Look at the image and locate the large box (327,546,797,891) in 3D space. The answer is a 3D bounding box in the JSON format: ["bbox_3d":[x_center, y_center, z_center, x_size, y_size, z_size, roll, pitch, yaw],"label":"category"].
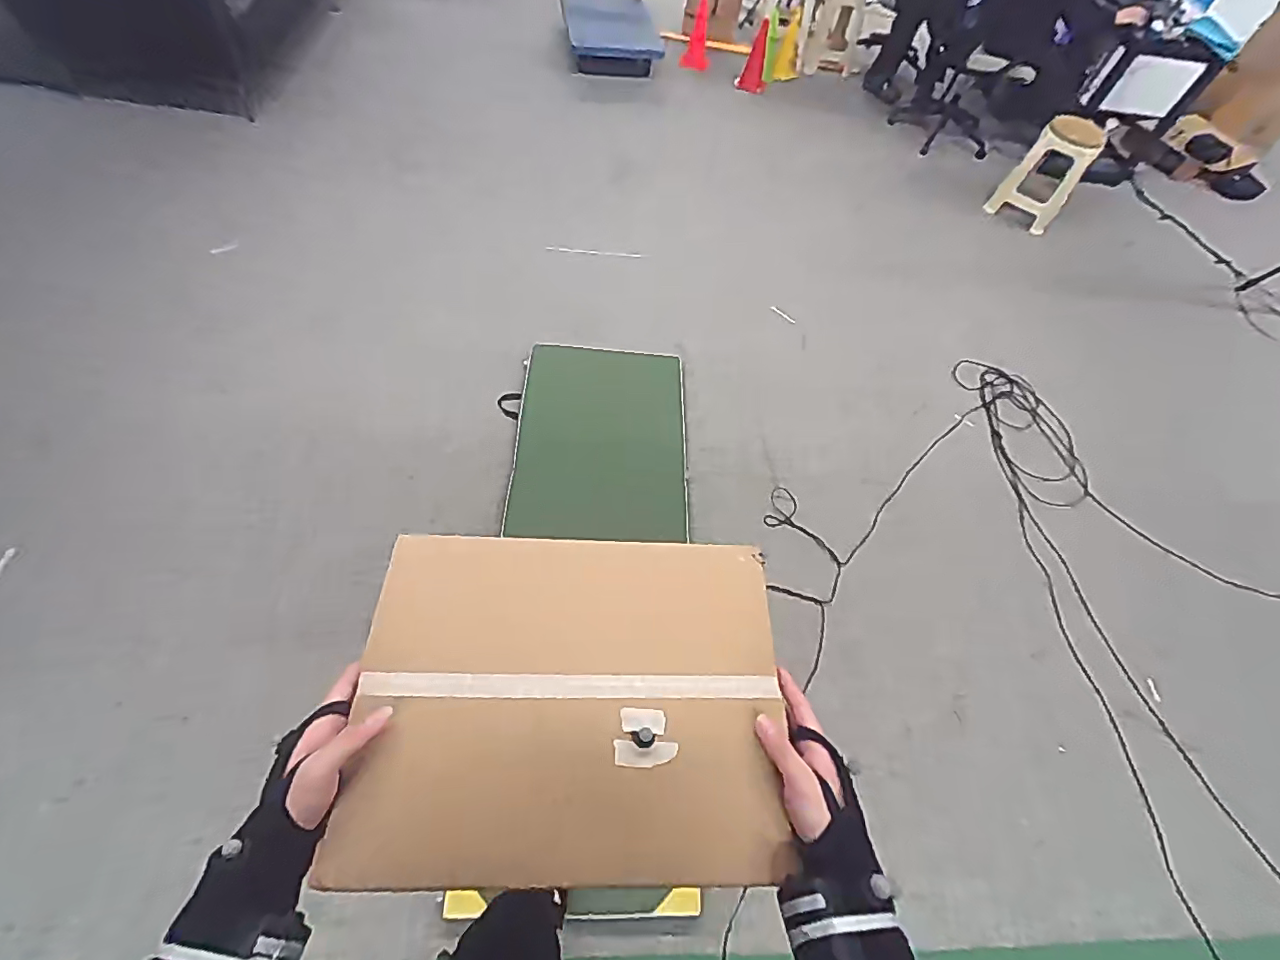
[{"bbox_3d":[-0.077,0.291,0.658,0.408,0.320,0.320,3,57,-5],"label":"large box"}]
